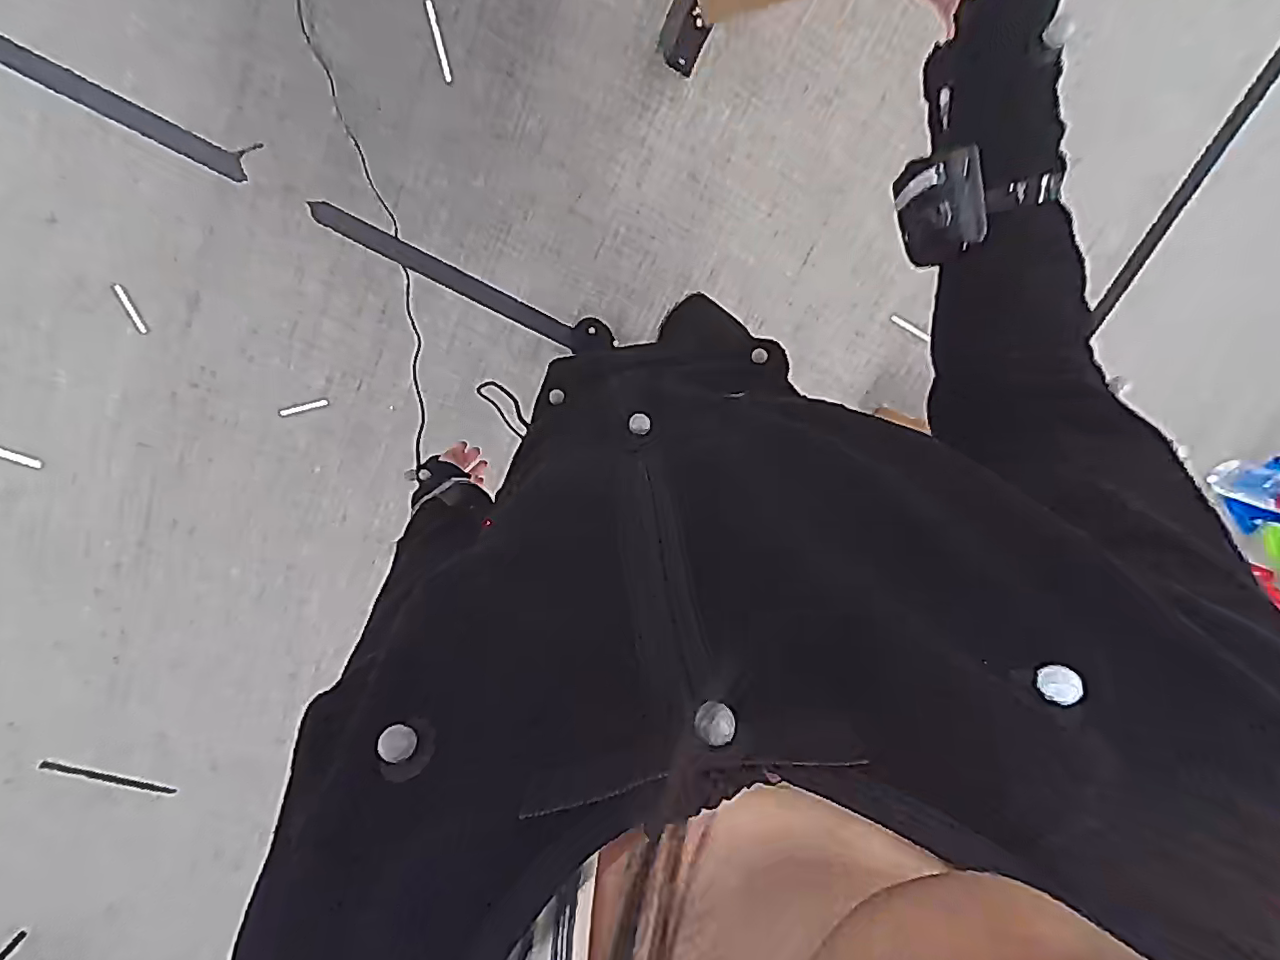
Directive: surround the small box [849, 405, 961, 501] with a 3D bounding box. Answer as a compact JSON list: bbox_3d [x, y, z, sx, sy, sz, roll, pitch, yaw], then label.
[{"bbox_3d":[0.692,-0.078,1.437,0.168,0.176,0.179,24,107,-15],"label":"small box"}]
